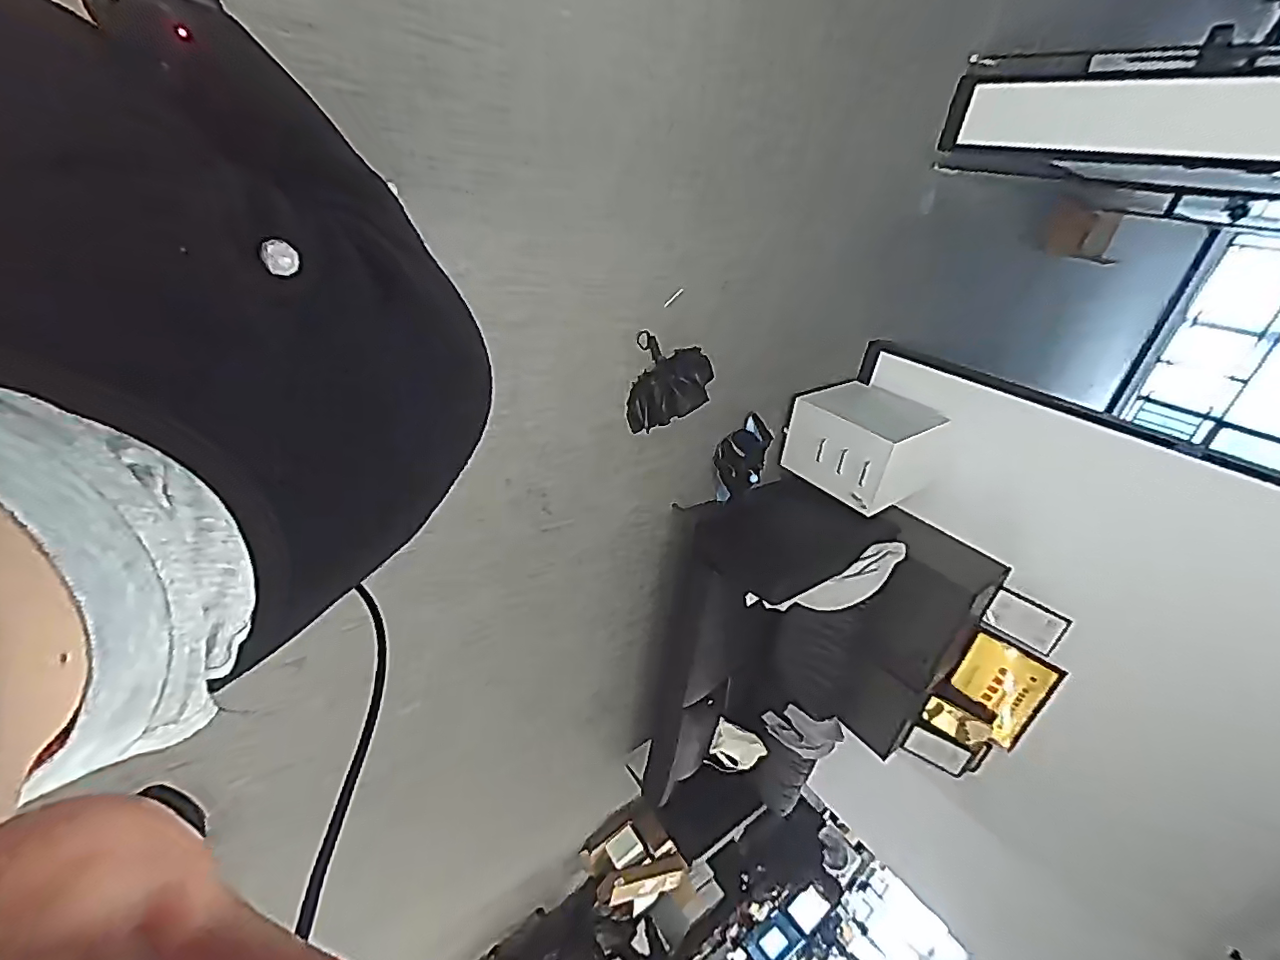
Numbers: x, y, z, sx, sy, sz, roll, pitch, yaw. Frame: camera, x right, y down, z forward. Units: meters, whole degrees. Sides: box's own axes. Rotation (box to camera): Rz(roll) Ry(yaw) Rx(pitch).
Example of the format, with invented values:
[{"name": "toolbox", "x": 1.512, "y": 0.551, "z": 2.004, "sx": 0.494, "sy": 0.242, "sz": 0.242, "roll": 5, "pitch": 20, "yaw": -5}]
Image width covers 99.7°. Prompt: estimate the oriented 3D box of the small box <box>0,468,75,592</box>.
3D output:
[{"name": "small box", "x": -1.317, "y": 0.095, "z": 1.110, "sx": 0.179, "sy": 0.176, "sz": 0.168, "roll": -51, "pitch": 139, "yaw": -2}]
